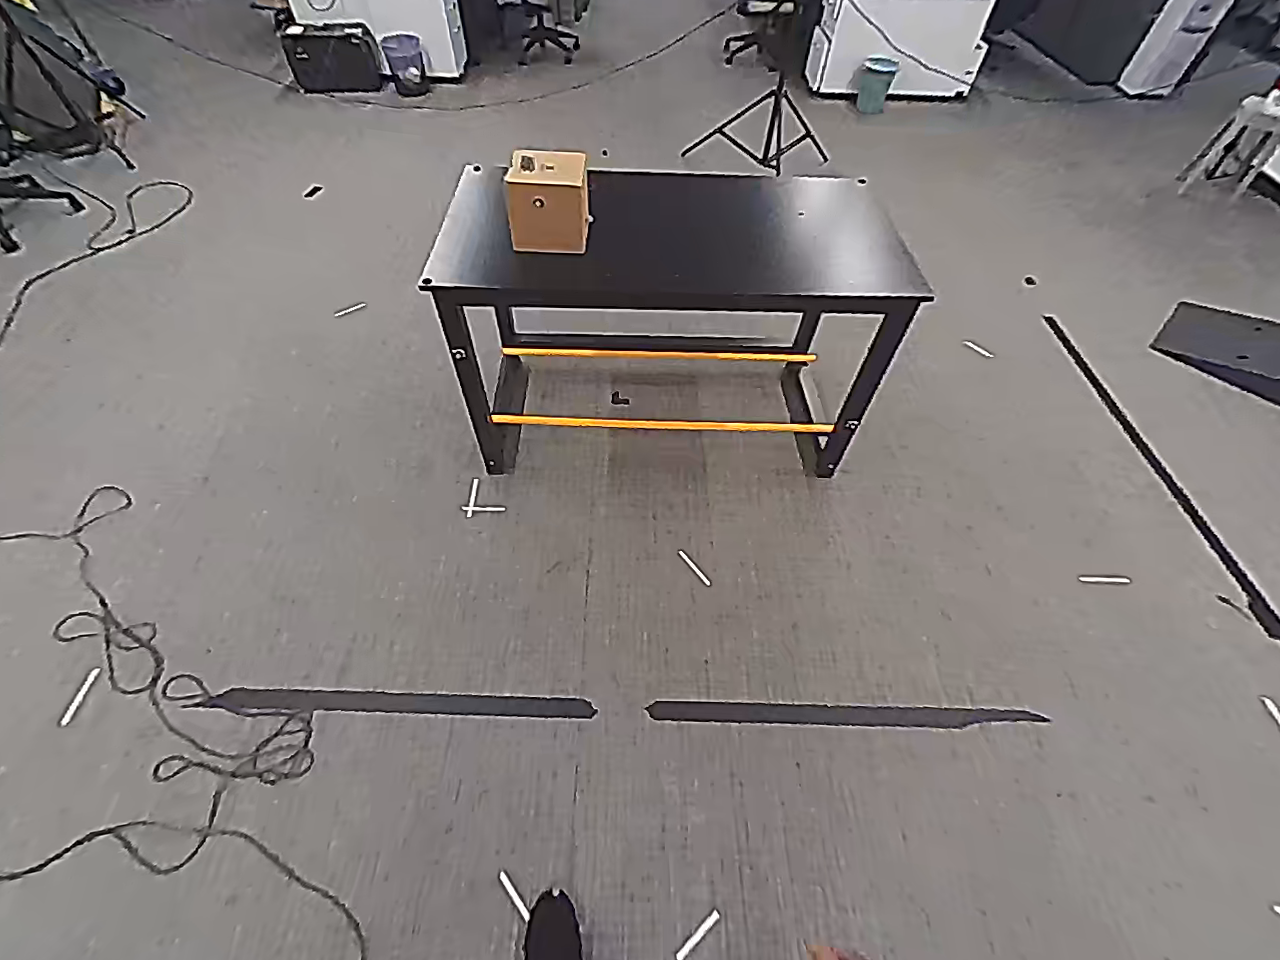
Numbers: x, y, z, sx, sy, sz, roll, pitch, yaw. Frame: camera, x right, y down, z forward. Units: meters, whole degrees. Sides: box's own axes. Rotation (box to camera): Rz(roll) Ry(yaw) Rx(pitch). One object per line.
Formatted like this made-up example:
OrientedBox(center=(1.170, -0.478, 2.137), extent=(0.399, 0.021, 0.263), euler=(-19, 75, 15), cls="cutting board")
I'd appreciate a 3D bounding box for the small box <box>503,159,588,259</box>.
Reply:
OrientedBox(center=(-0.225, -0.666, 1.332), extent=(0.179, 0.176, 0.168), euler=(2, 53, -2), cls="small box")
